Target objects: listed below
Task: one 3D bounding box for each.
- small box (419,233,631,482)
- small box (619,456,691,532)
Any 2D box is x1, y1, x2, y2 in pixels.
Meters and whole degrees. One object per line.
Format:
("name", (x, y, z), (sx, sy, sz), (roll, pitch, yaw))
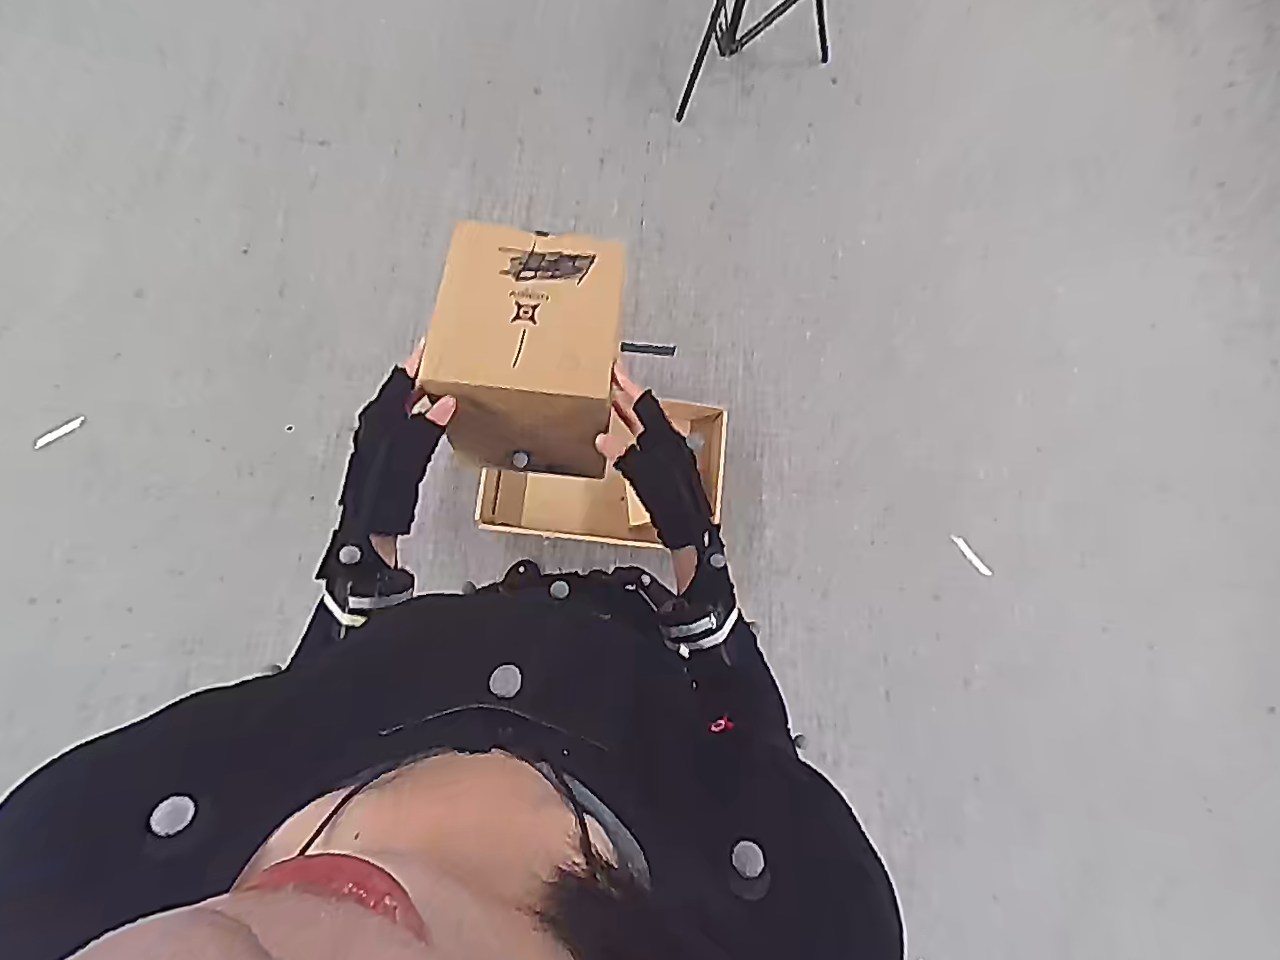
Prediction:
("small box", (-0.103, -0.117, 0.558), (0.168, 0.176, 0.179), (6, 64, -2))
("small box", (0.036, 0.043, 1.439), (0.168, 0.176, 0.179), (-5, 81, -6))
